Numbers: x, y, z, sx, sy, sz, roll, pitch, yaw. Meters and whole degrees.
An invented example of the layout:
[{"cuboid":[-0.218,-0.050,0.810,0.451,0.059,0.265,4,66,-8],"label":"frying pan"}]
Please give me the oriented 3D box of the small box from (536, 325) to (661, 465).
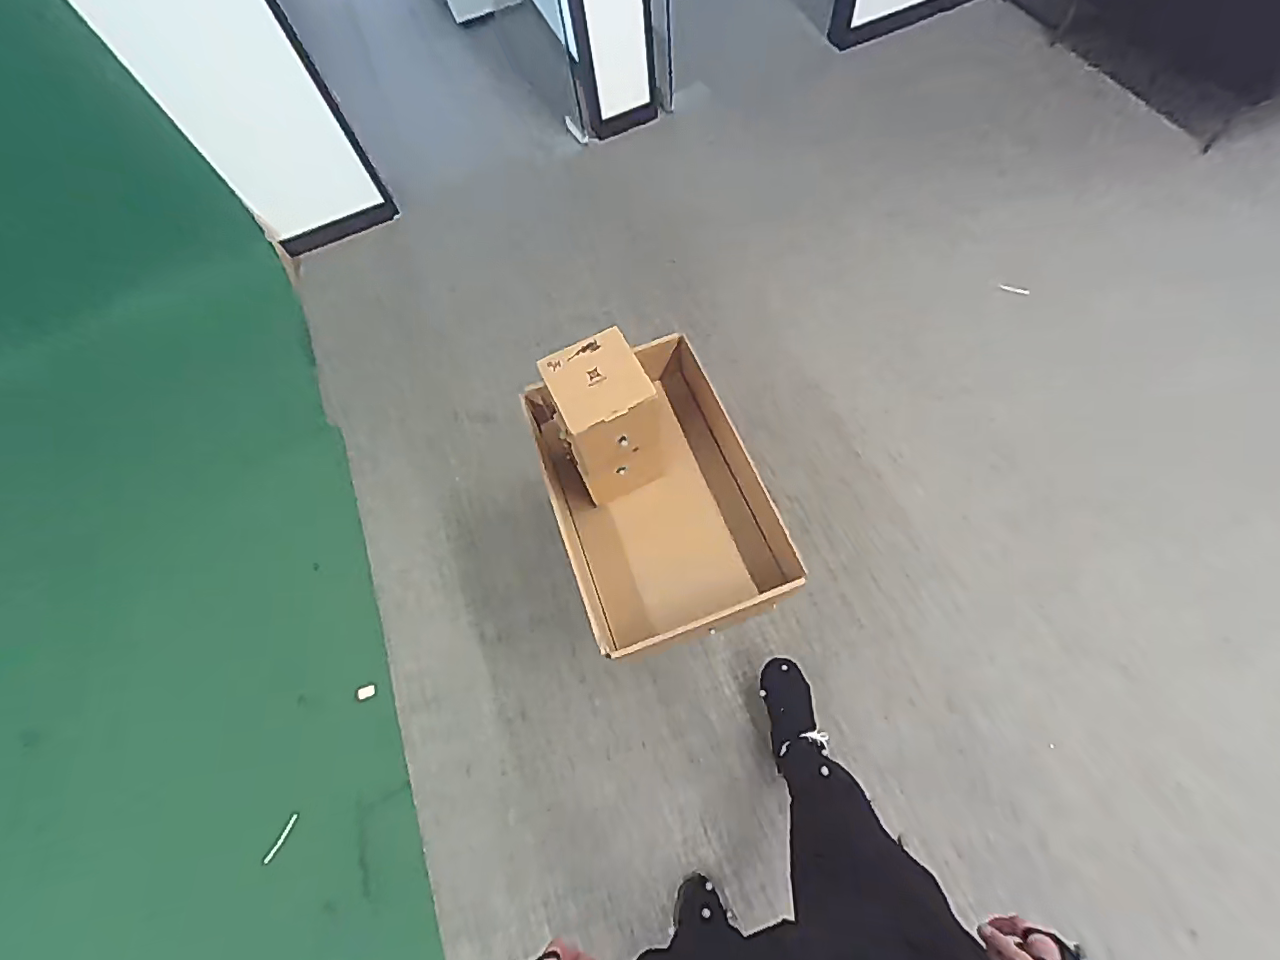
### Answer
[{"cuboid":[-0.069,-0.147,1.012,0.168,0.176,0.179,-26,67,-6],"label":"small box"}]
